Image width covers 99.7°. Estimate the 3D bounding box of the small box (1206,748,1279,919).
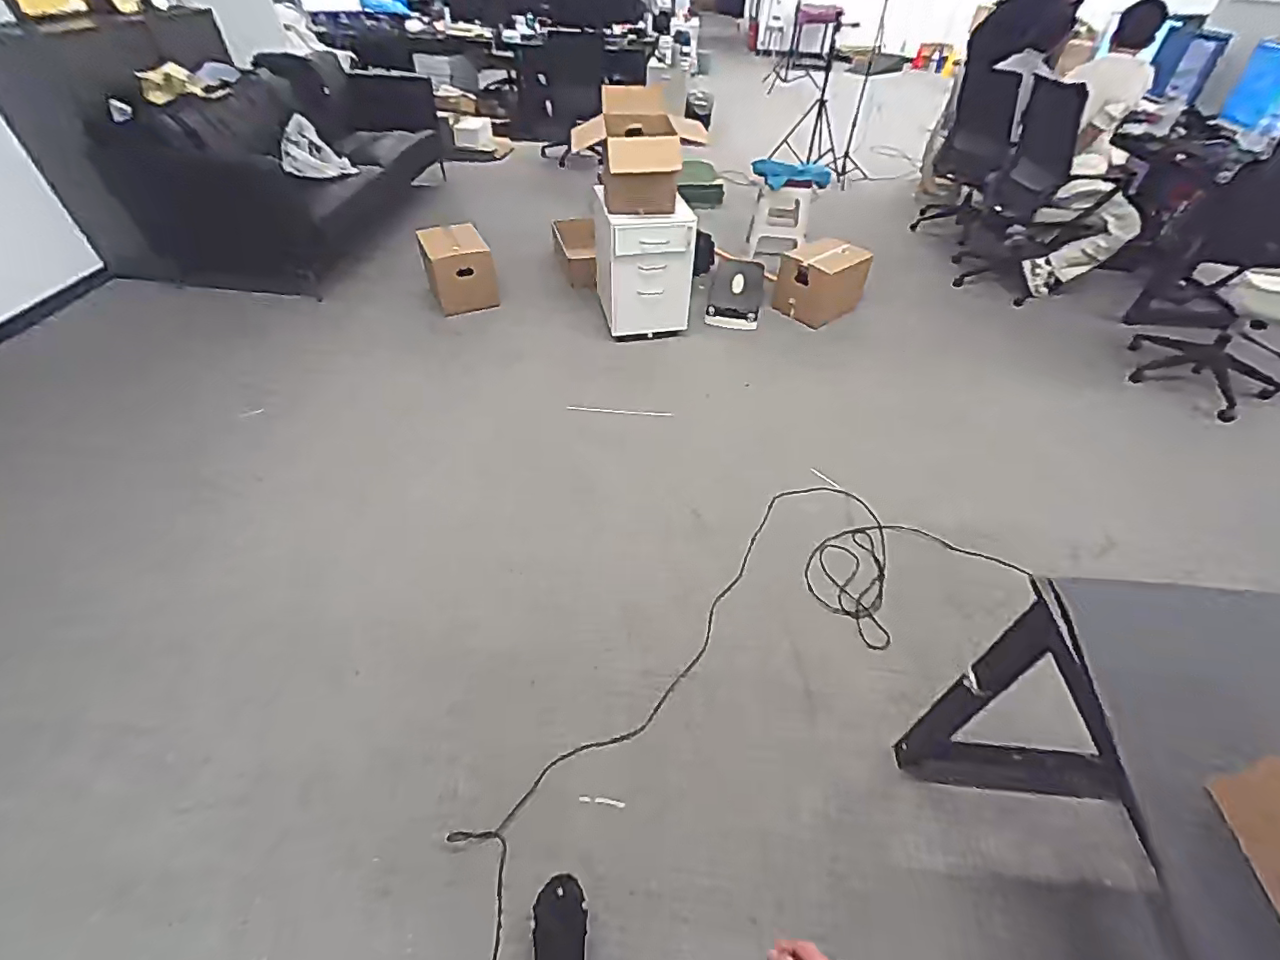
[{"bbox_3d":[0.794,0.400,0.575,0.168,0.176,0.179,7,45,3],"label":"small box"}]
